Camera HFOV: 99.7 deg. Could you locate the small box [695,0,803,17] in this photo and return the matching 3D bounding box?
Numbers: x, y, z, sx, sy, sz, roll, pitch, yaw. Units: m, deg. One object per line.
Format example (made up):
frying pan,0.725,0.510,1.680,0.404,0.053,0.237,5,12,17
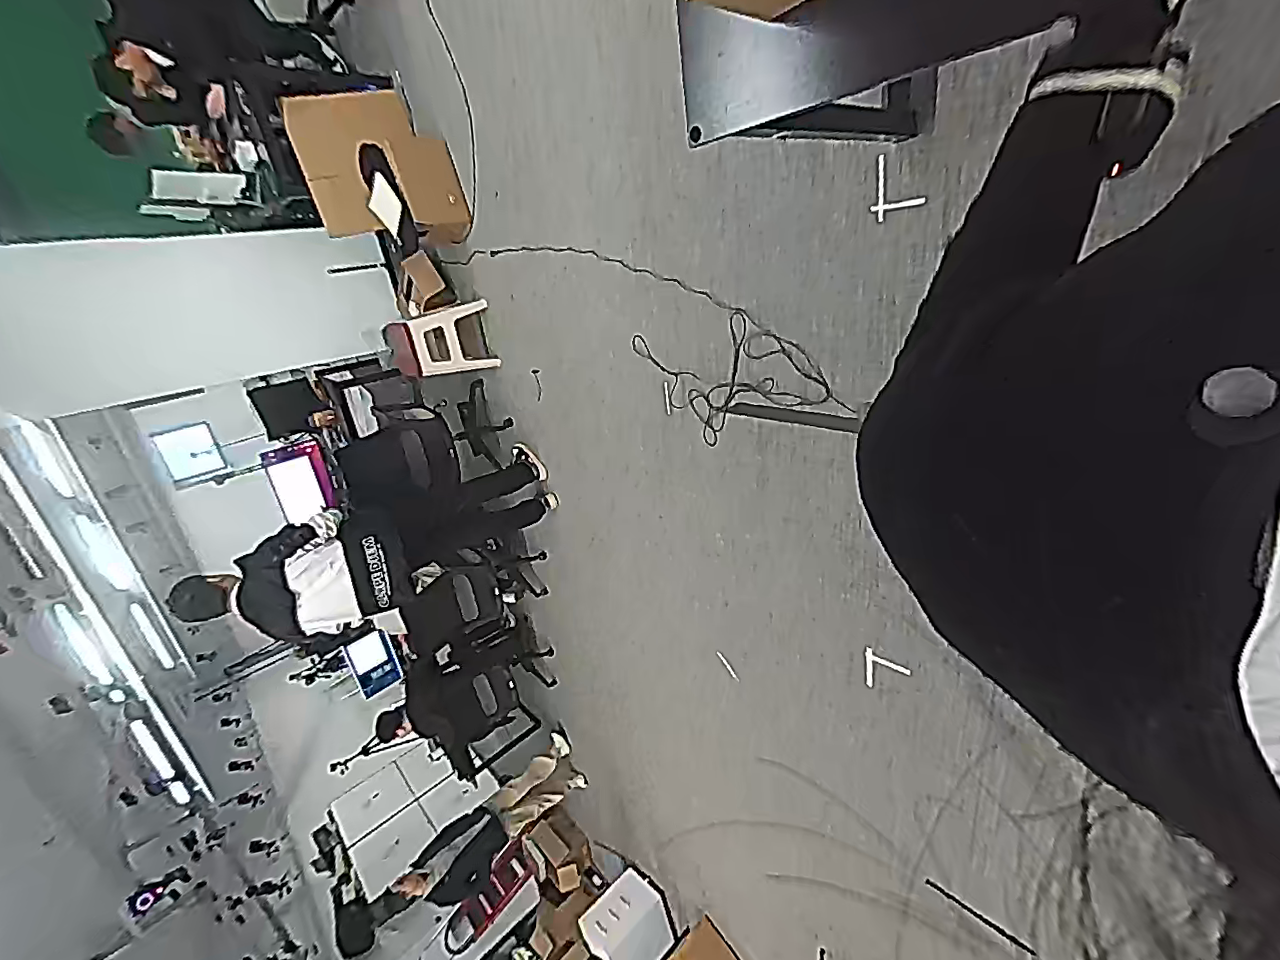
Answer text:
small box,0.161,-0.669,0.609,0.179,0.176,0.168,13,120,48
